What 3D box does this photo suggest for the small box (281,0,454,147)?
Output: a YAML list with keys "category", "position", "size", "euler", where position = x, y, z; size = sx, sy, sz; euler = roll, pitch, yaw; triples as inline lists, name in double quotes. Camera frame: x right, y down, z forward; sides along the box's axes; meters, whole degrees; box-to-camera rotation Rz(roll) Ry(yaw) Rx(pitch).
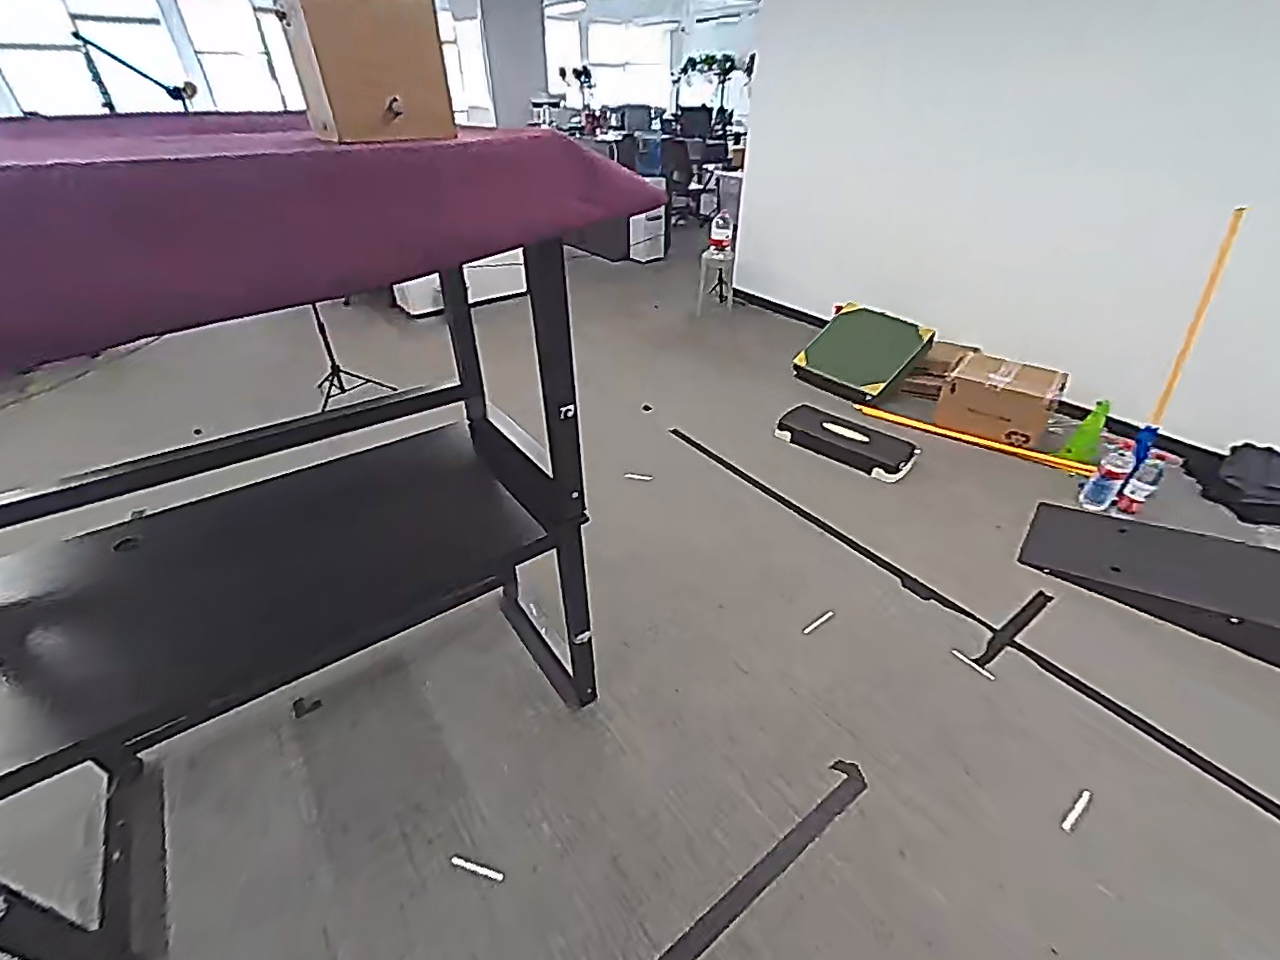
- category: "small box"
  position: [-0.389, -0.597, 0.796]
  size: [0.179, 0.176, 0.168]
  euler: [-24, 41, -30]
